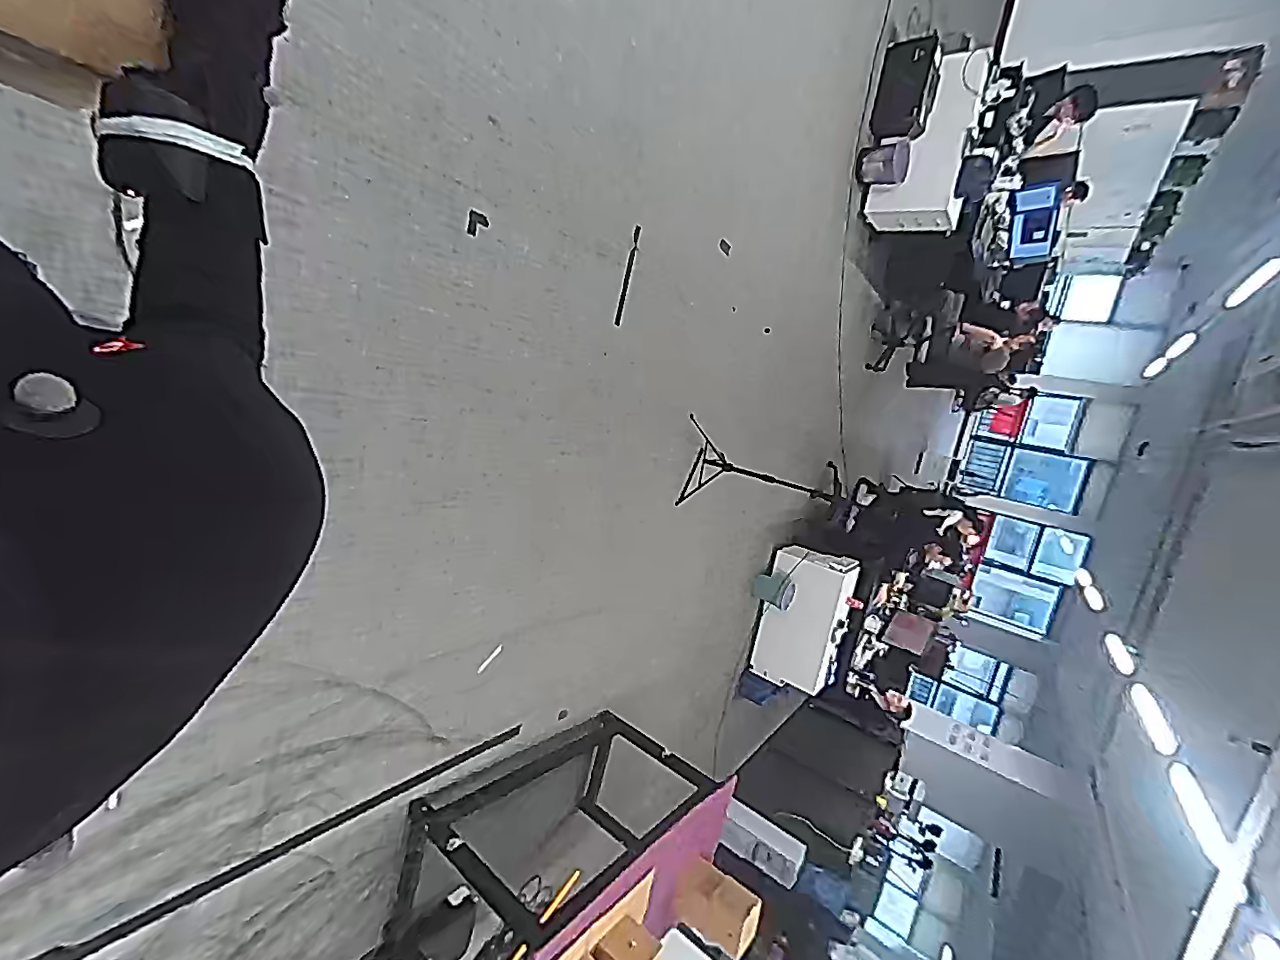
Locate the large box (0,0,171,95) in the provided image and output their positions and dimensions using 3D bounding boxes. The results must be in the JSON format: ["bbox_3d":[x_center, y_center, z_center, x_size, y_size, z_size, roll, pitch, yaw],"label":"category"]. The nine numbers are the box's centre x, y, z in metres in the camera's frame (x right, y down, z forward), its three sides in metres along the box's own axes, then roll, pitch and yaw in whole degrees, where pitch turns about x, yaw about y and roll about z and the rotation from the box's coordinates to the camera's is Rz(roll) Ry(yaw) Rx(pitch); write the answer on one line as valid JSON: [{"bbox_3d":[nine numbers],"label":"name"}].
[{"bbox_3d":[-0.529,-0.466,0.268,0.408,0.320,0.320,-2,113,-55],"label":"large box"}]
